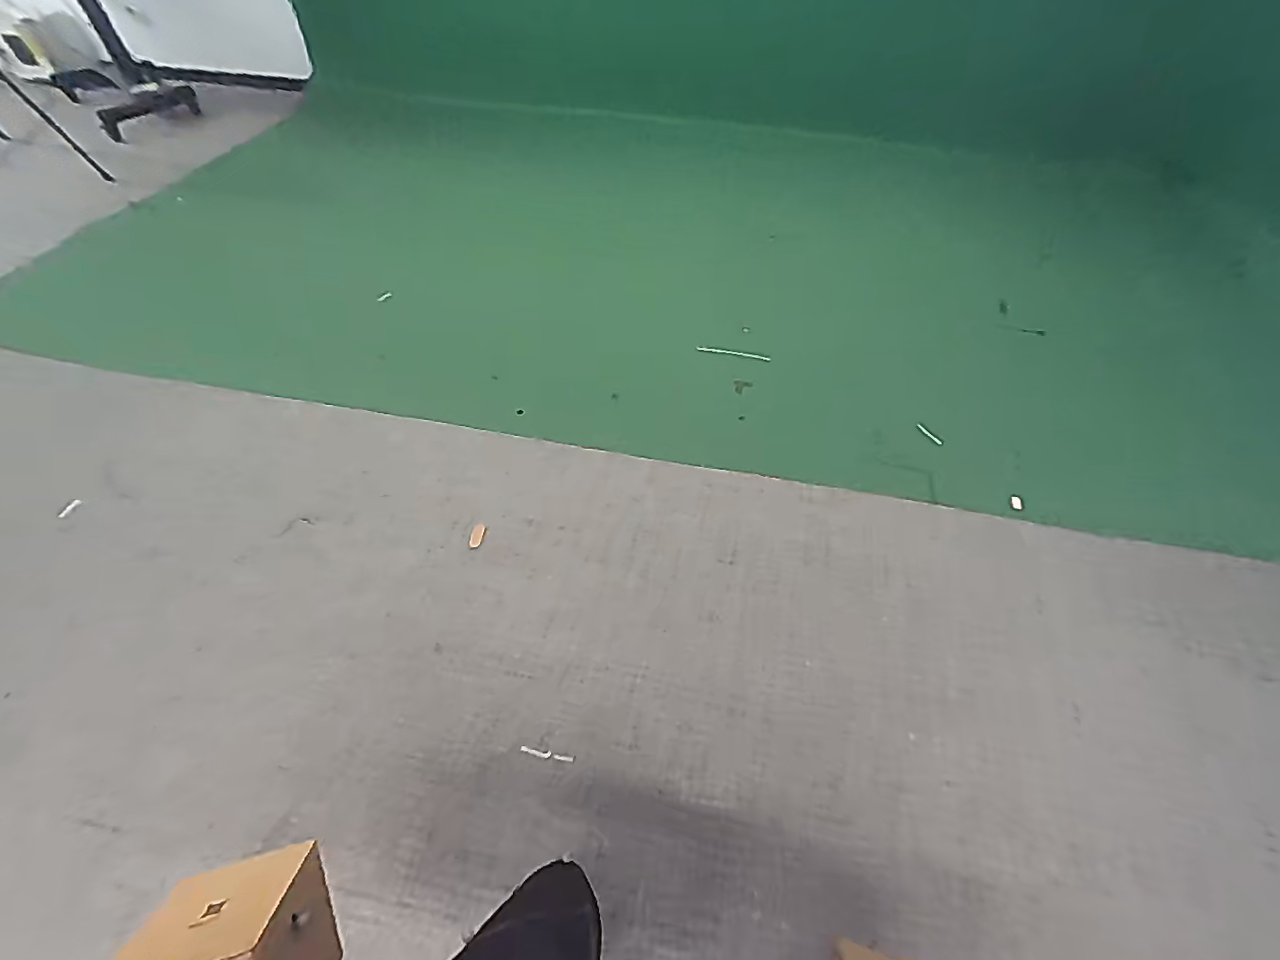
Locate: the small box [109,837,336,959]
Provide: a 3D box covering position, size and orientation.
[{"bbox_3d":[-0.477,0.575,0.630,0.168,0.179,0.176,-12,94,-12],"label":"small box"}]
